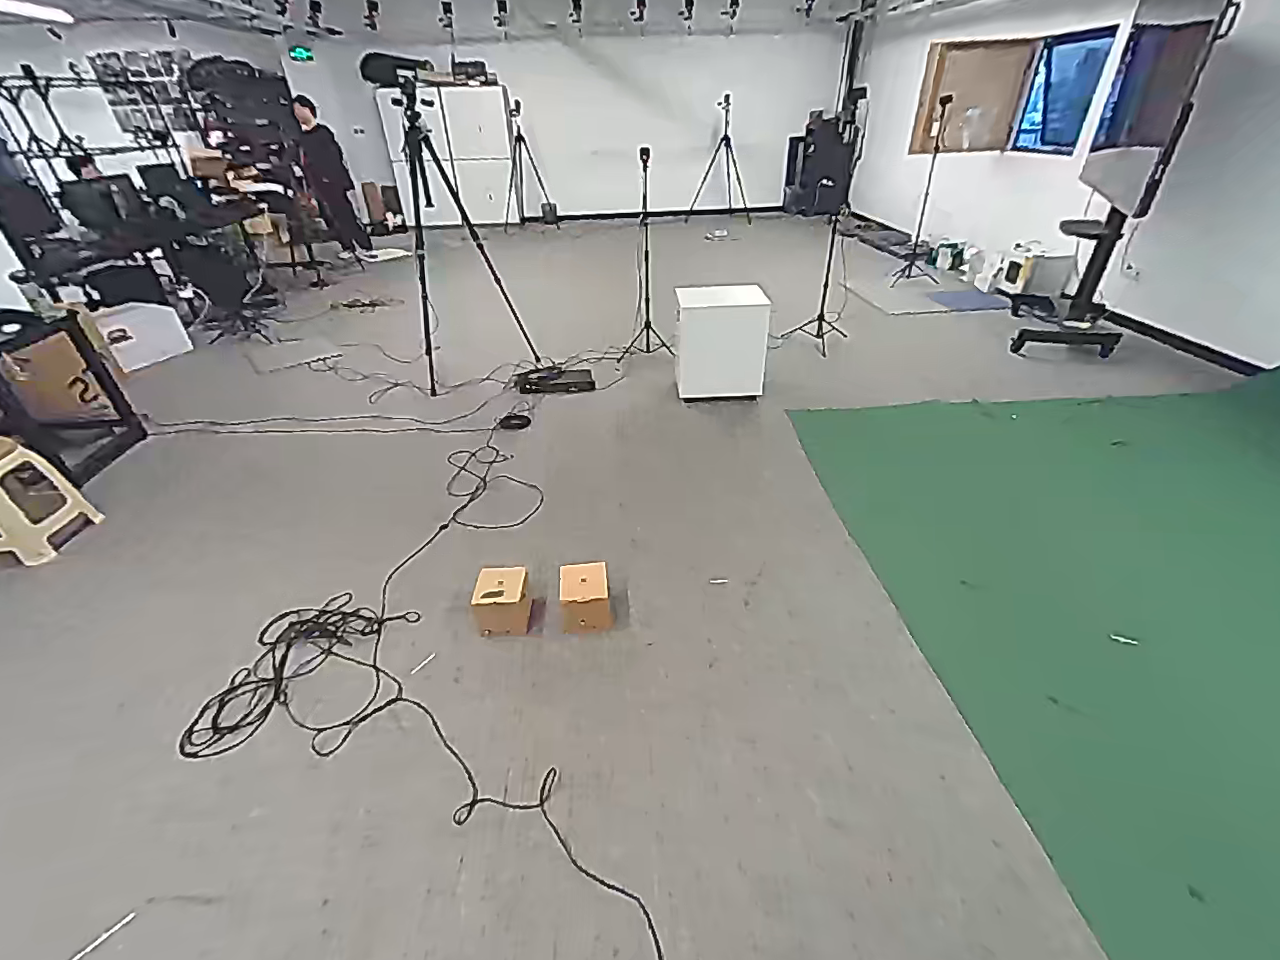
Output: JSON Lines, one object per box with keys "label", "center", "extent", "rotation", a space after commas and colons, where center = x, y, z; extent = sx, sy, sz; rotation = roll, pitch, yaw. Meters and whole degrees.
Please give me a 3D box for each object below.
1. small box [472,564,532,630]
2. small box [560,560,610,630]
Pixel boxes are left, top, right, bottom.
{"label": "small box", "center": [-0.487, 0.423, 1.936], "extent": [0.168, 0.176, 0.179], "rotation": [-2, 34, 0]}
{"label": "small box", "center": [-0.196, 0.412, 1.942], "extent": [0.168, 0.176, 0.179], "rotation": [-5, 36, -4]}
